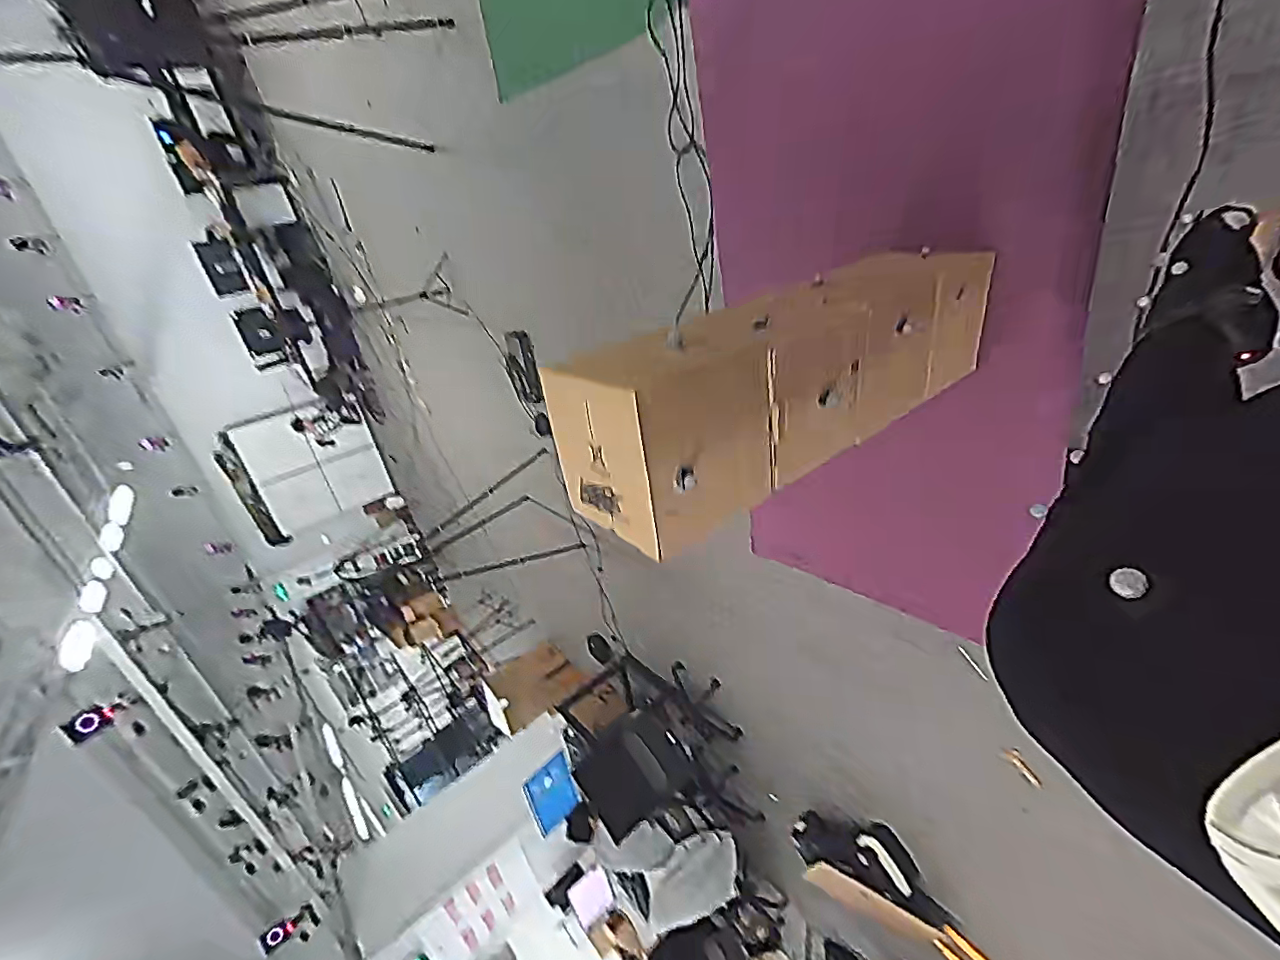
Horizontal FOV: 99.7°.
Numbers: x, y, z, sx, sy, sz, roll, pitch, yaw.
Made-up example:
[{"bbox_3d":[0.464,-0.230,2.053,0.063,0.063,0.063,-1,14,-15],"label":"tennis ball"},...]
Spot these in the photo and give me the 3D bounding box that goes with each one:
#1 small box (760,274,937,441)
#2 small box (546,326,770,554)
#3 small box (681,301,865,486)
[{"bbox_3d":[0.283,-0.179,0.747,0.168,0.176,0.179,26,133,46],"label":"small box"},{"bbox_3d":[0.026,-0.055,0.586,0.168,0.176,0.179,24,131,48],"label":"small box"},{"bbox_3d":[0.154,-0.118,0.668,0.179,0.176,0.168,25,132,46],"label":"small box"}]
